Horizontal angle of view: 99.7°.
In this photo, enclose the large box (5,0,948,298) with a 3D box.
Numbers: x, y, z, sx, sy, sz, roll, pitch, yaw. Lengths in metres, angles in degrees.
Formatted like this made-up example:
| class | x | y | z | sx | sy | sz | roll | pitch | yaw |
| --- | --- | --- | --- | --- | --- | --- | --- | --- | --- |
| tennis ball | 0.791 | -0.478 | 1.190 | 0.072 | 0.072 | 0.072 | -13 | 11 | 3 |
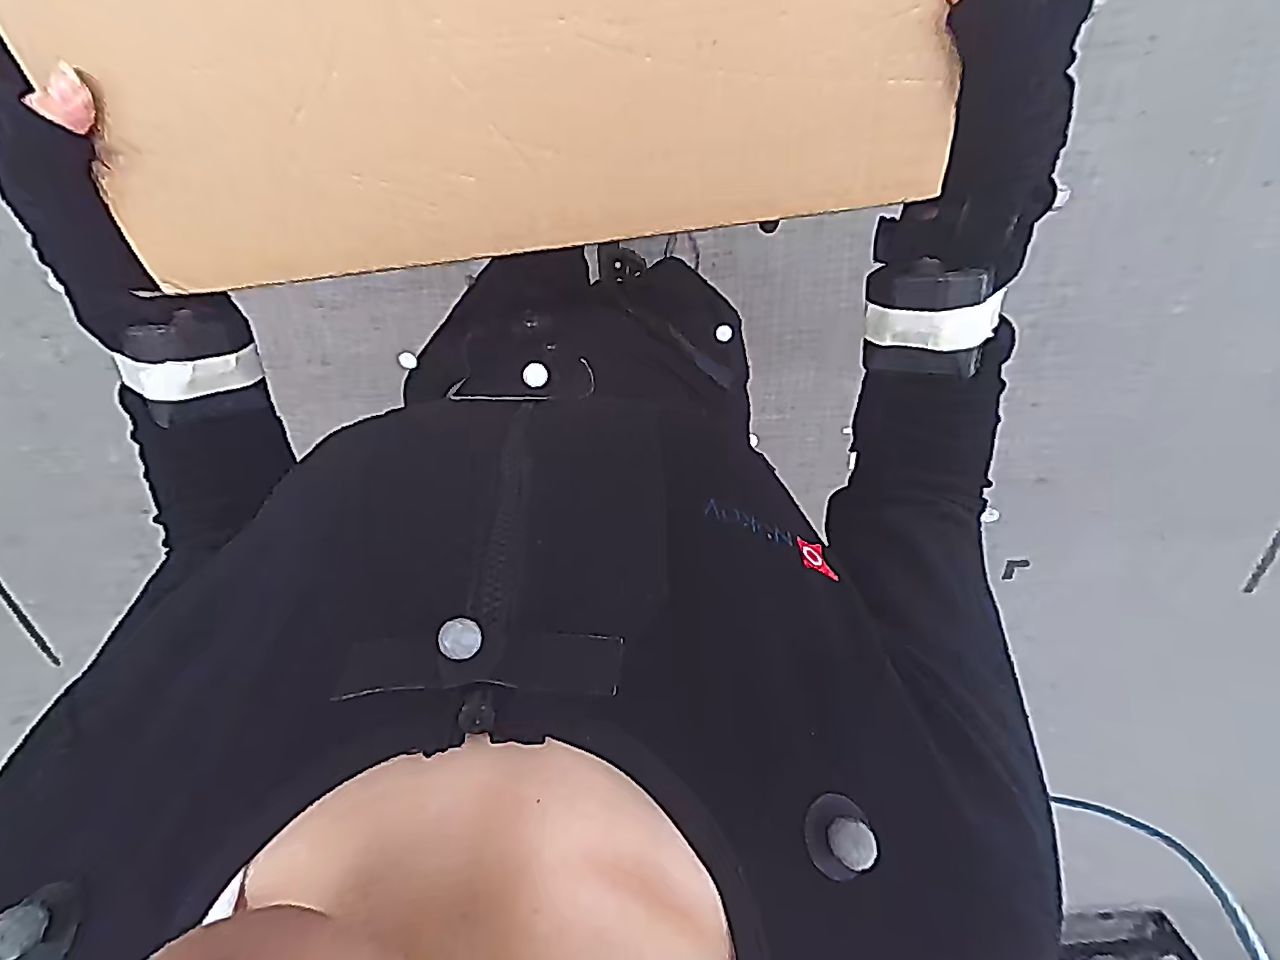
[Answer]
| class | x | y | z | sx | sy | sz | roll | pitch | yaw |
| --- | --- | --- | --- | --- | --- | --- | --- | --- | --- |
| large box | -0.073 | -0.332 | 0.321 | 0.408 | 0.320 | 0.320 | -5 | 124 | 5 |
